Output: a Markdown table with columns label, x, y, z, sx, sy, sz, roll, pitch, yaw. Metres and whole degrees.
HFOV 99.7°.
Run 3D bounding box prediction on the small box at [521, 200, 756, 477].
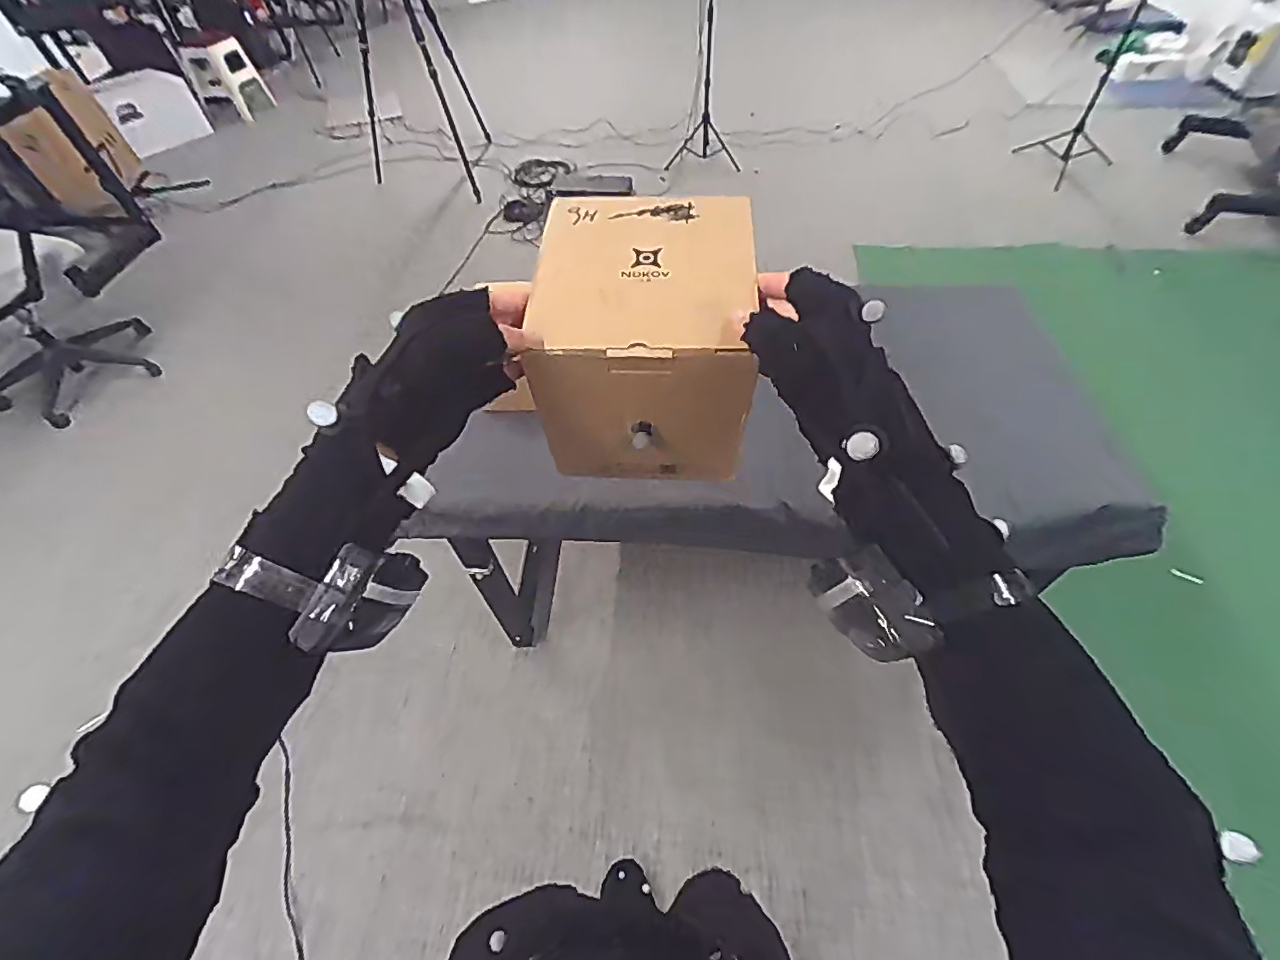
| label | x | y | z | sx | sy | sz | roll | pitch | yaw |
| --- | --- | --- | --- | --- | --- | --- | --- | --- | --- |
| small box | 0.007 | -0.116 | 0.475 | 0.168 | 0.176 | 0.179 | 2 | 61 | 3 |

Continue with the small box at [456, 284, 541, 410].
| label | x | y | z | sx | sy | sz | roll | pitch | yaw |
| --- | --- | --- | --- | --- | --- | --- | --- | --- | --- |
| small box | -0.214 | -0.243 | 1.002 | 0.179 | 0.176 | 0.168 | 0 | 52 | 2 |
